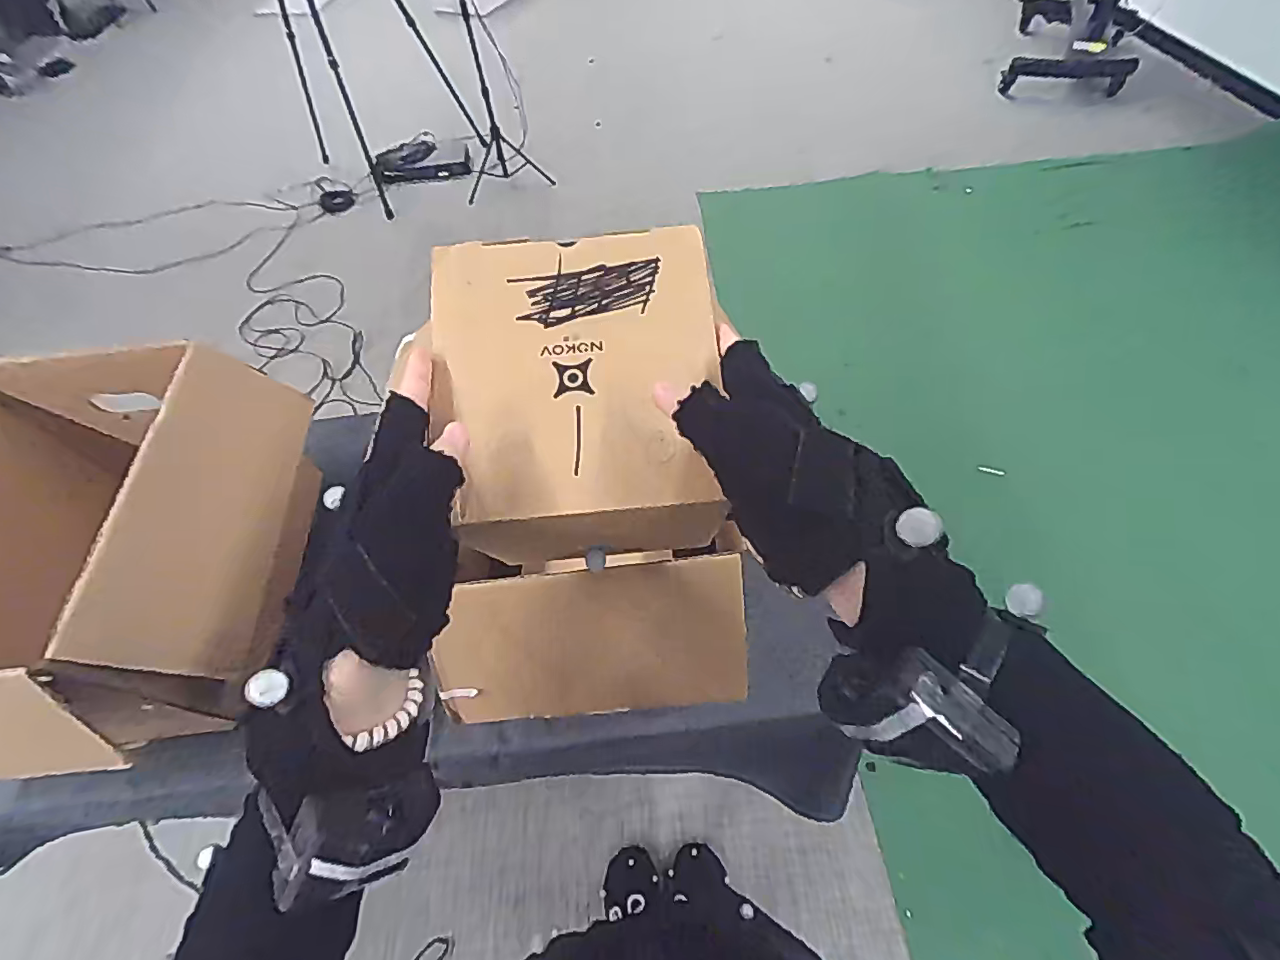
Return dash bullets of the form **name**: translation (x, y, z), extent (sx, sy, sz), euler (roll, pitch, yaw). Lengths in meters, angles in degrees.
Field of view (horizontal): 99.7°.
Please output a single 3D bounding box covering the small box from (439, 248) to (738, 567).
- **small box**: translation (-0.032, -0.038, 0.392), extent (0.168, 0.176, 0.179), euler (-4, 75, -1)
